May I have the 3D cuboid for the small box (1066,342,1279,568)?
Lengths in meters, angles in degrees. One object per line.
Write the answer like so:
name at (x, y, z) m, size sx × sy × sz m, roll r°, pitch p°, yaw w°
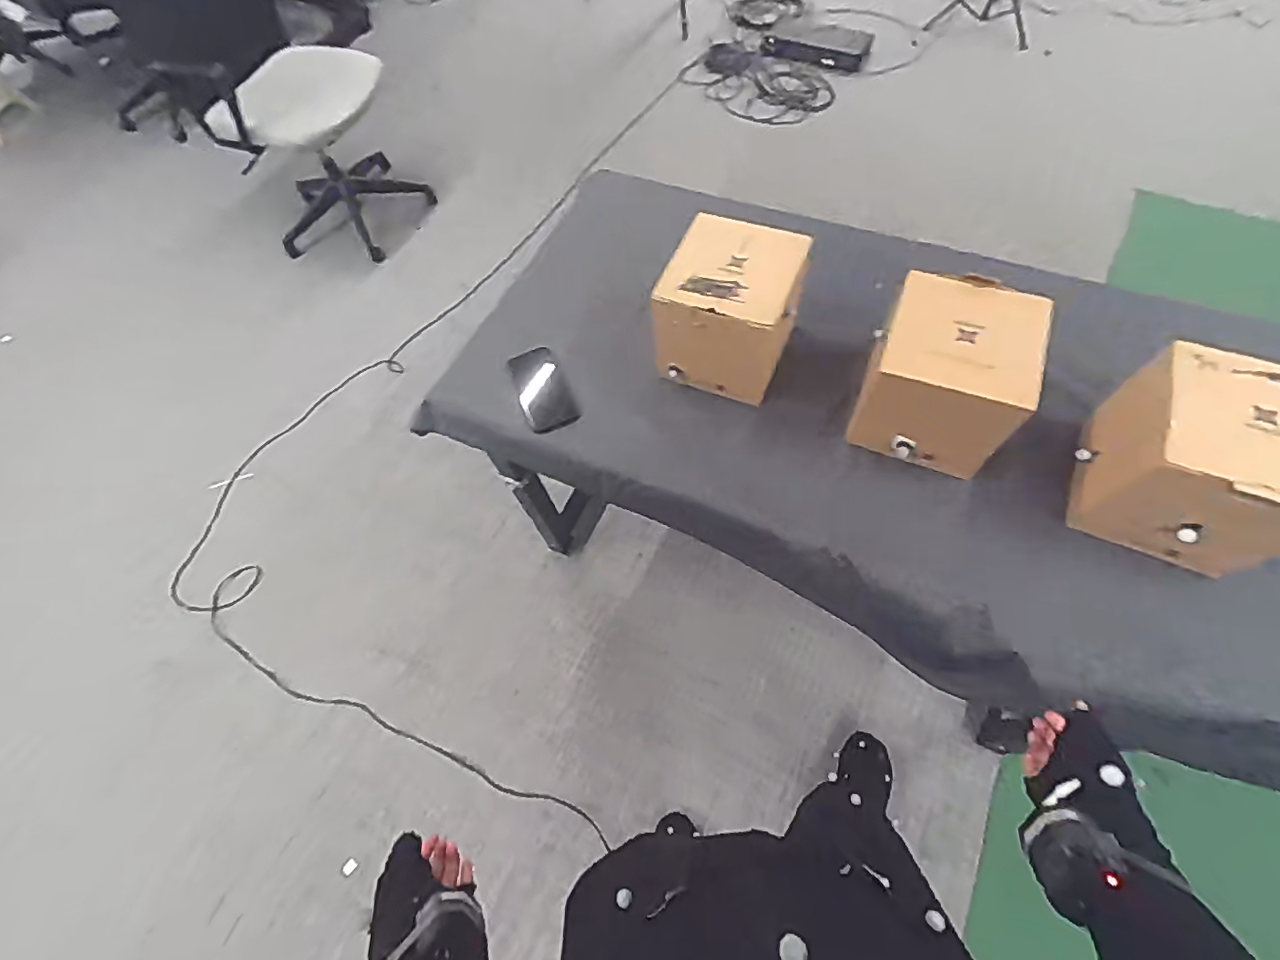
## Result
small box at (0.641, -0.021, 0.628) m, size 0.168 × 0.176 × 0.179 m, roll 22°, pitch 67°, yaw 16°

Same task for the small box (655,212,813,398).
small box at (0.134, -0.249, 0.789) m, size 0.168 × 0.176 × 0.179 m, roll 20°, pitch 66°, yaw 14°

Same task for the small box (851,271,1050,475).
small box at (0.395, -0.136, 0.711) m, size 0.168 × 0.176 × 0.179 m, roll 19°, pitch 67°, yaw 16°
